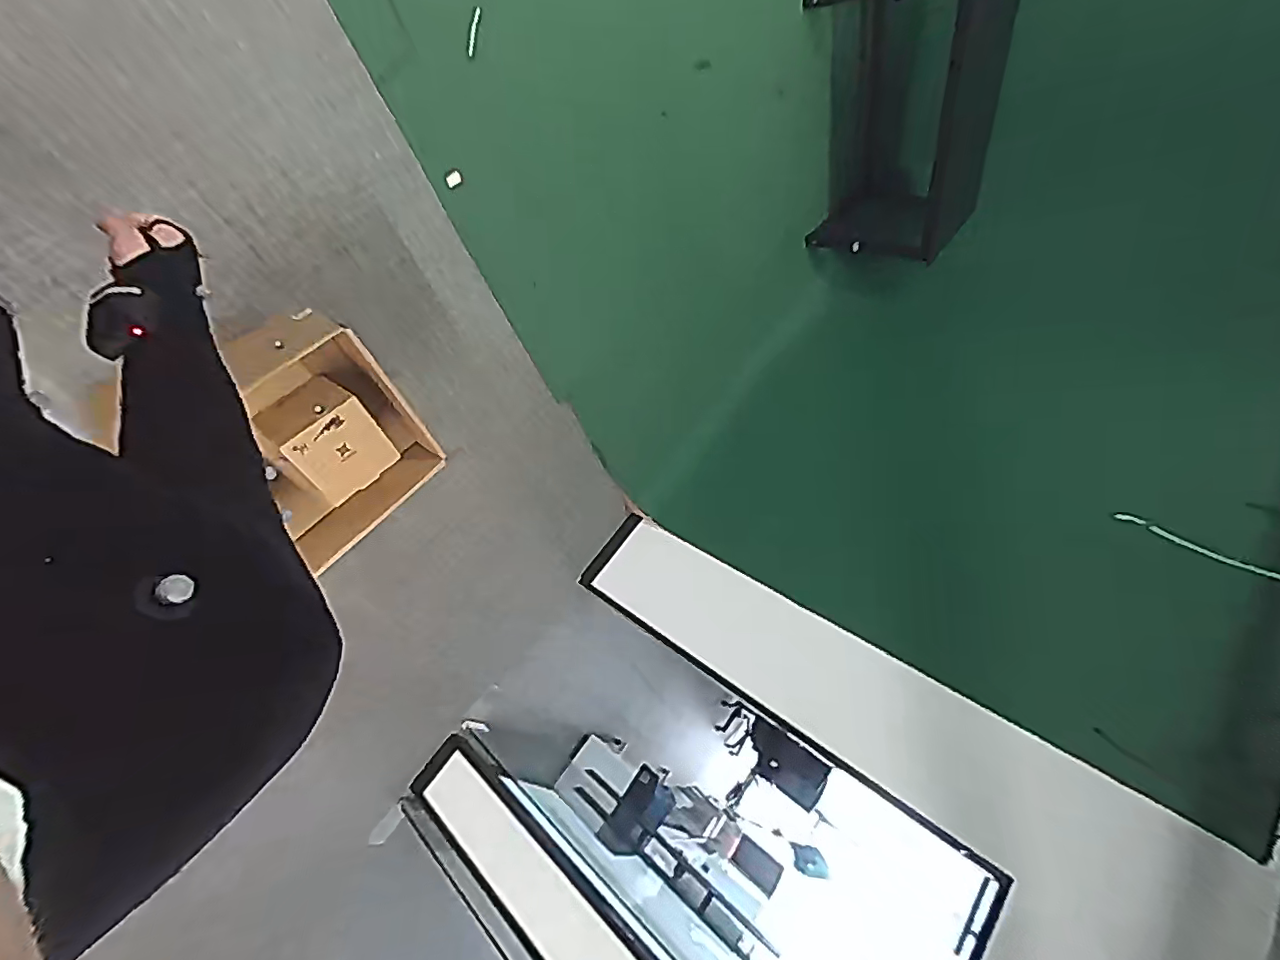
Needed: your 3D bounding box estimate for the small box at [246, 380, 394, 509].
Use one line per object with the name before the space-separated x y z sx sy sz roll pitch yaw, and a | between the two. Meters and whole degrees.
small box | -0.656 -0.079 1.115 0.168 0.176 0.179 -46 143 -25
